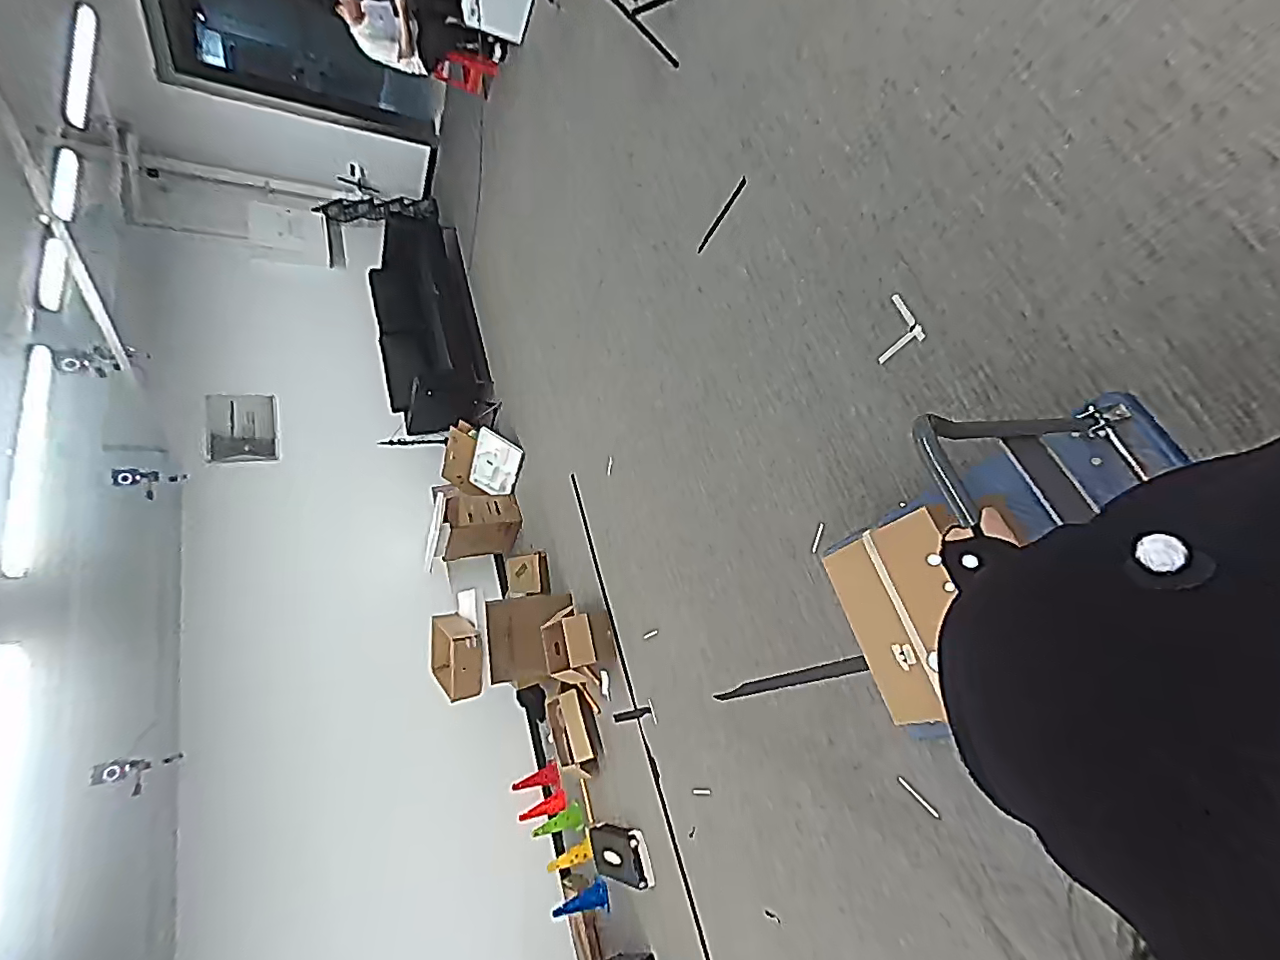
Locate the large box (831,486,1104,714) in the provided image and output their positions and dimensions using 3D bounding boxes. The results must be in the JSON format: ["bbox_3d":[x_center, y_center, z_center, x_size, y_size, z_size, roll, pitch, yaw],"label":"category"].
[{"bbox_3d":[0.725,0.265,1.236,0.320,0.320,0.408,-48,55,51],"label":"large box"}]
